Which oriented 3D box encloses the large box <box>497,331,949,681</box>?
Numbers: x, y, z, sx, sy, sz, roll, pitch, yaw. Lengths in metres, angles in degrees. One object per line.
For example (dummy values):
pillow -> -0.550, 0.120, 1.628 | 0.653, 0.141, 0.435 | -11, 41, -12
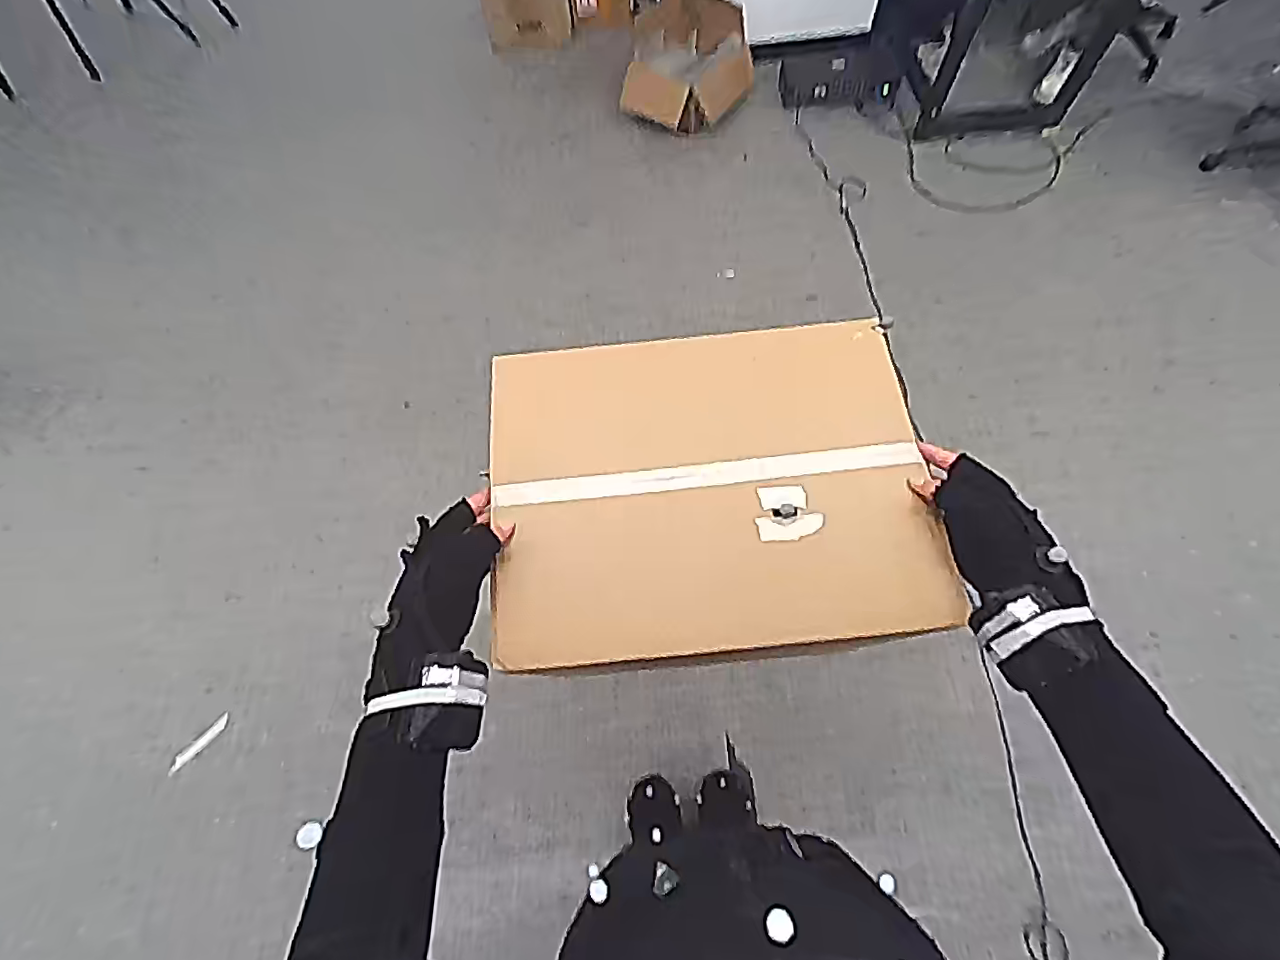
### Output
large box -> 0.063, 0.057, 0.663 | 0.408, 0.320, 0.320 | -6, 69, -1
